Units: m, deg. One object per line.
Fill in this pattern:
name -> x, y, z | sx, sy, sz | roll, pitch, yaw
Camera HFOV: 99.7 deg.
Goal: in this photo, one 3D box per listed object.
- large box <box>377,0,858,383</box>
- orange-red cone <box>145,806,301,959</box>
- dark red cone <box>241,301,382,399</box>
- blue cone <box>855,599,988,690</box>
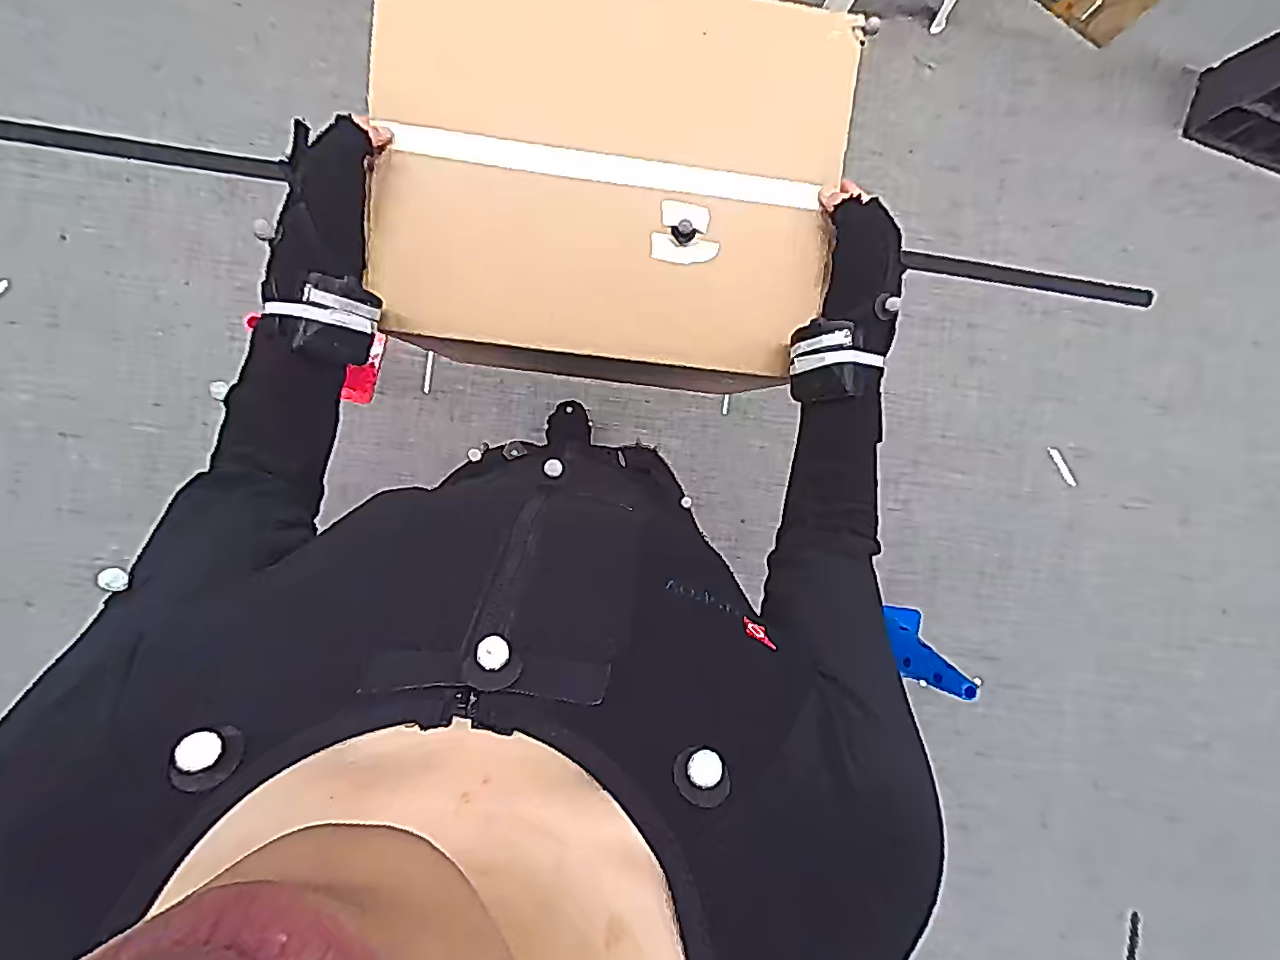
large box -> -0.033, -0.293, 0.617 | 0.408, 0.320, 0.320 | 6, 97, -6
orange-red cone -> -0.981, 0.962, 1.243 | 0.198, 0.360, 0.199 | 4, 92, -4
dark red cone -> -0.752, -0.317, 1.206 | 0.201, 0.394, 0.202 | 13, 91, -6
blue cone -> 0.726, 0.443, 1.377 | 0.192, 0.380, 0.193 | 10, 91, -6
